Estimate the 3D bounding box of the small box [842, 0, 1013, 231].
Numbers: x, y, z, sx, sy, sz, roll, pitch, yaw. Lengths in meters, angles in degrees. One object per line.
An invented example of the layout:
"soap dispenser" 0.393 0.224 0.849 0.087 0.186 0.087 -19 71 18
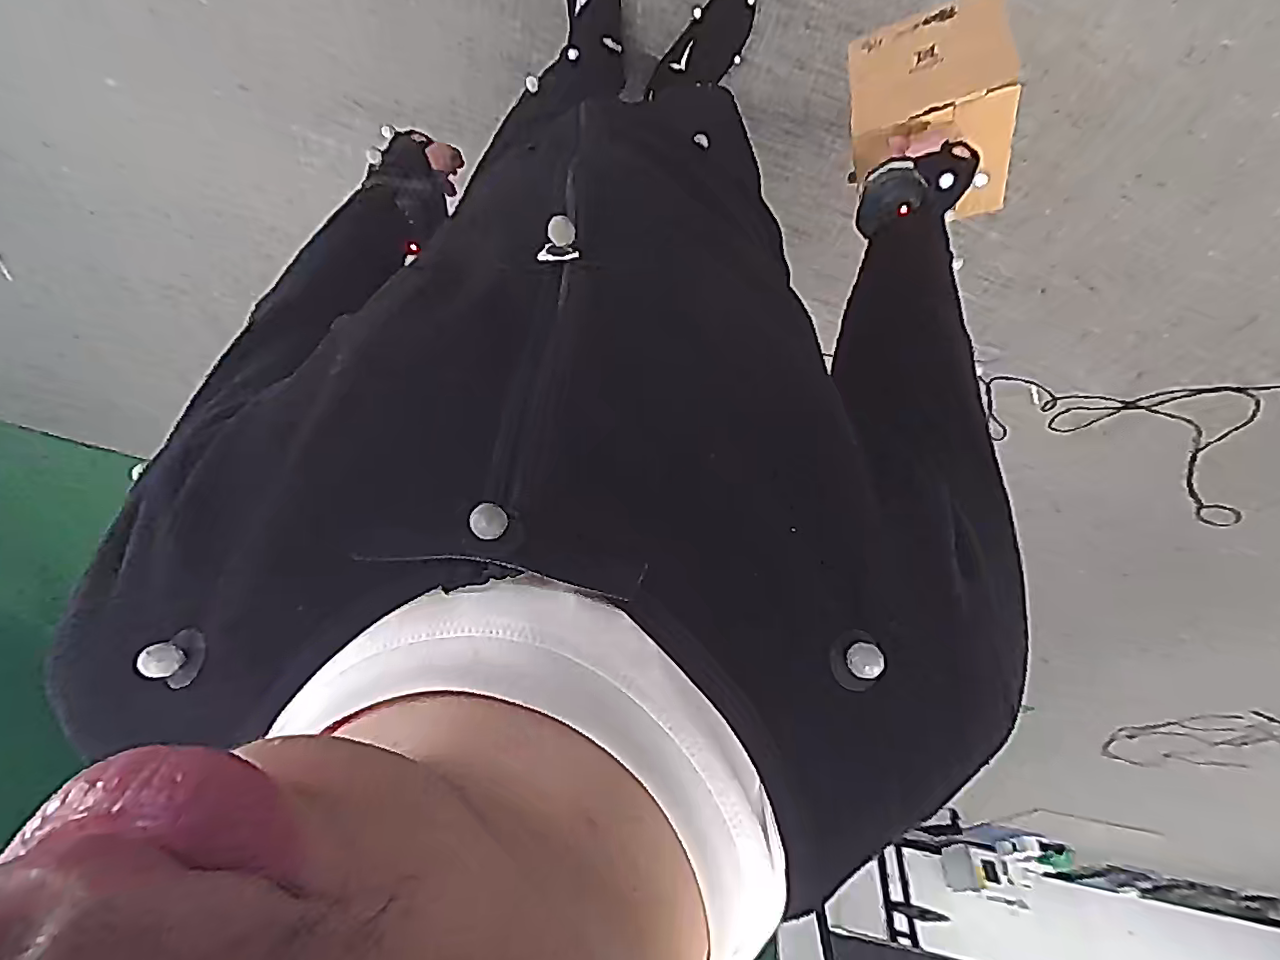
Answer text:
"small box" 0.362 -0.450 0.689 0.168 0.179 0.176 -8 155 28
